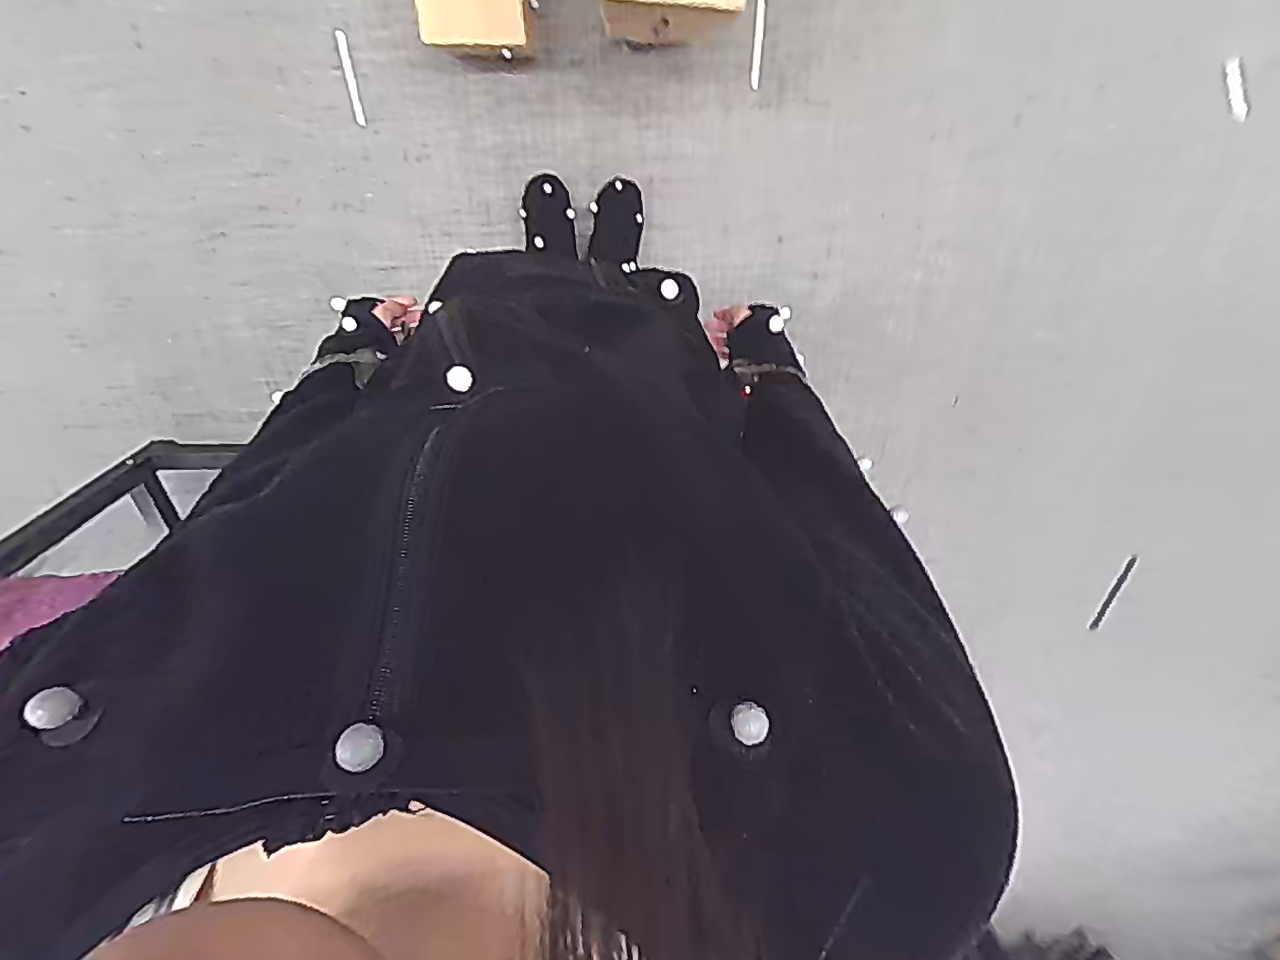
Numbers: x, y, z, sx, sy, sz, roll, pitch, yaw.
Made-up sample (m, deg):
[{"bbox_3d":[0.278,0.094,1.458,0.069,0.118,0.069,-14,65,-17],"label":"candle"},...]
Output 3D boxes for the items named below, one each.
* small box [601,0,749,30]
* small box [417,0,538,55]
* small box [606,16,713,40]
[{"bbox_3d":[0.044,-0.677,0.667,0.179,0.176,0.168,2,123,-6],"label":"small box"},{"bbox_3d":[-0.279,-0.847,0.931,0.179,0.176,0.168,-2,123,-3],"label":"small box"},{"bbox_3d":[0.036,-0.770,0.802,0.179,0.176,0.168,-1,124,-4],"label":"small box"}]
